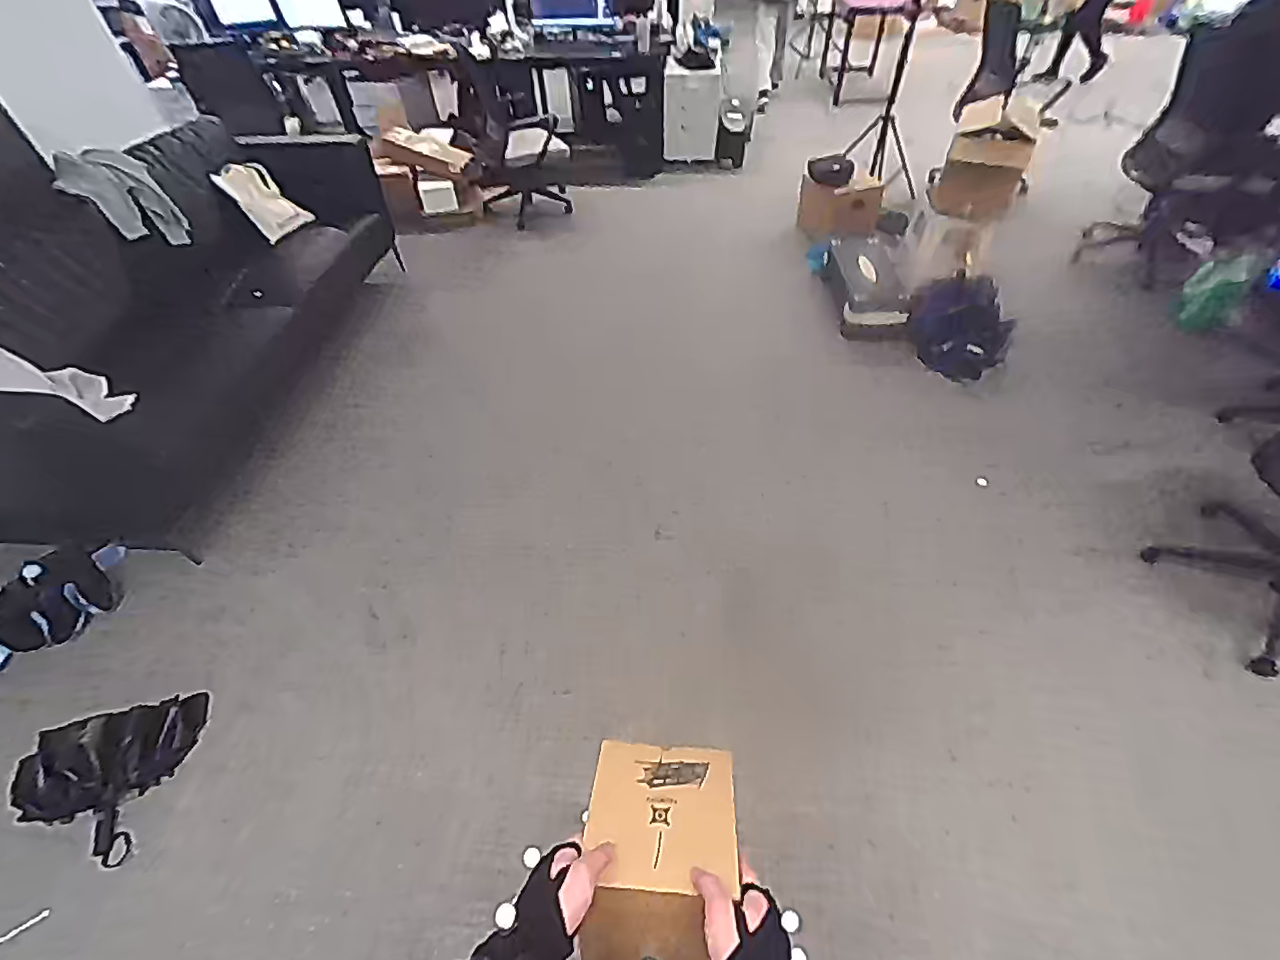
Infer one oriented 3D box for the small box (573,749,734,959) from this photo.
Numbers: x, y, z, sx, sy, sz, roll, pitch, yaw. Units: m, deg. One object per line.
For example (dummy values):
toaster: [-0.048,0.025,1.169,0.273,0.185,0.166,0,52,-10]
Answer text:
small box: [0.022,0.458,0.642,0.168,0.176,0.179,1,22,7]
